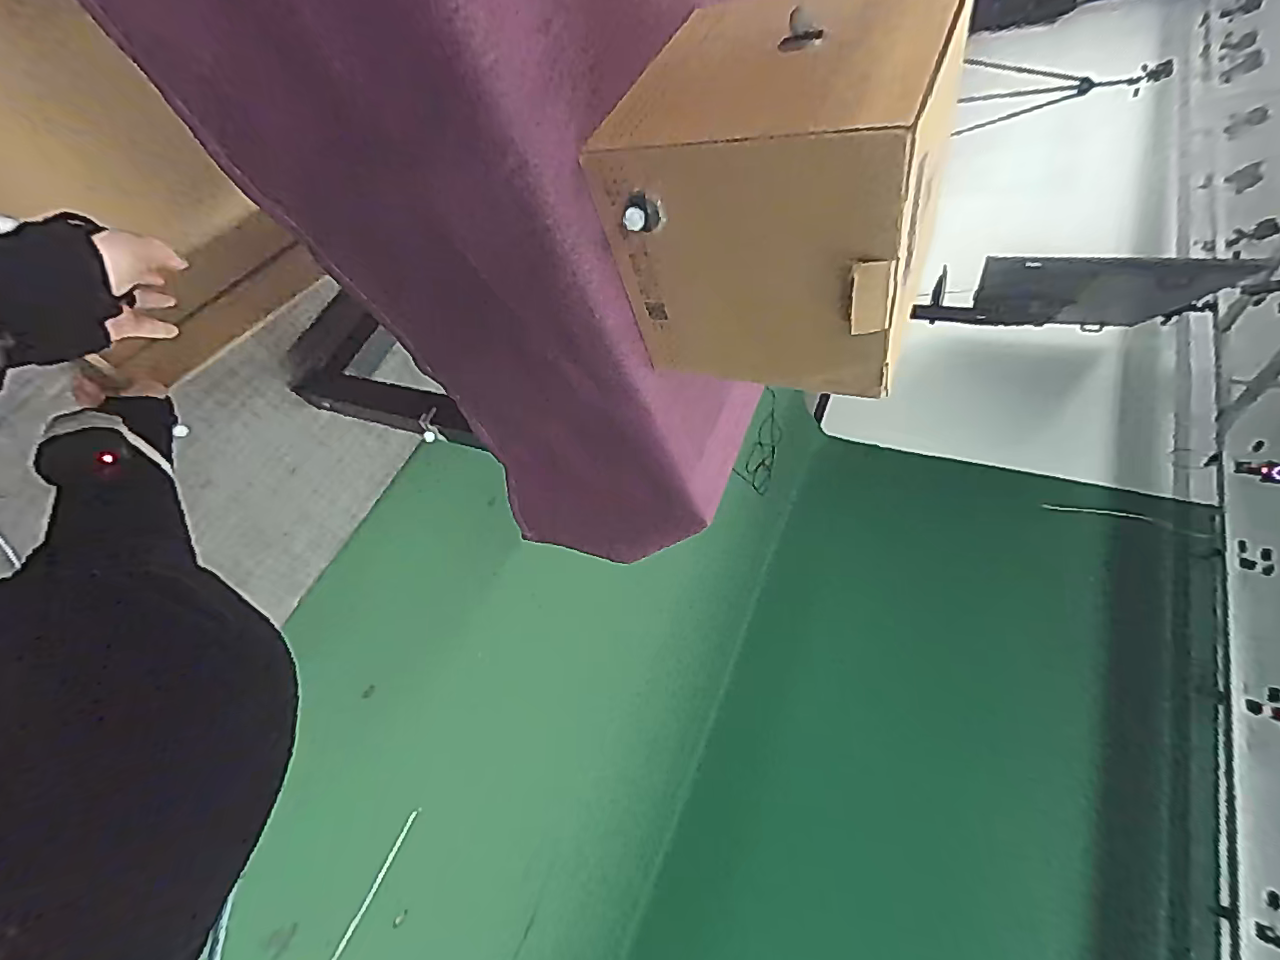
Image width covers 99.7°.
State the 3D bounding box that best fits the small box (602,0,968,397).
[{"bbox_3d":[0.093,-0.180,0.353,0.179,0.176,0.168,-63,150,-24],"label":"small box"}]
